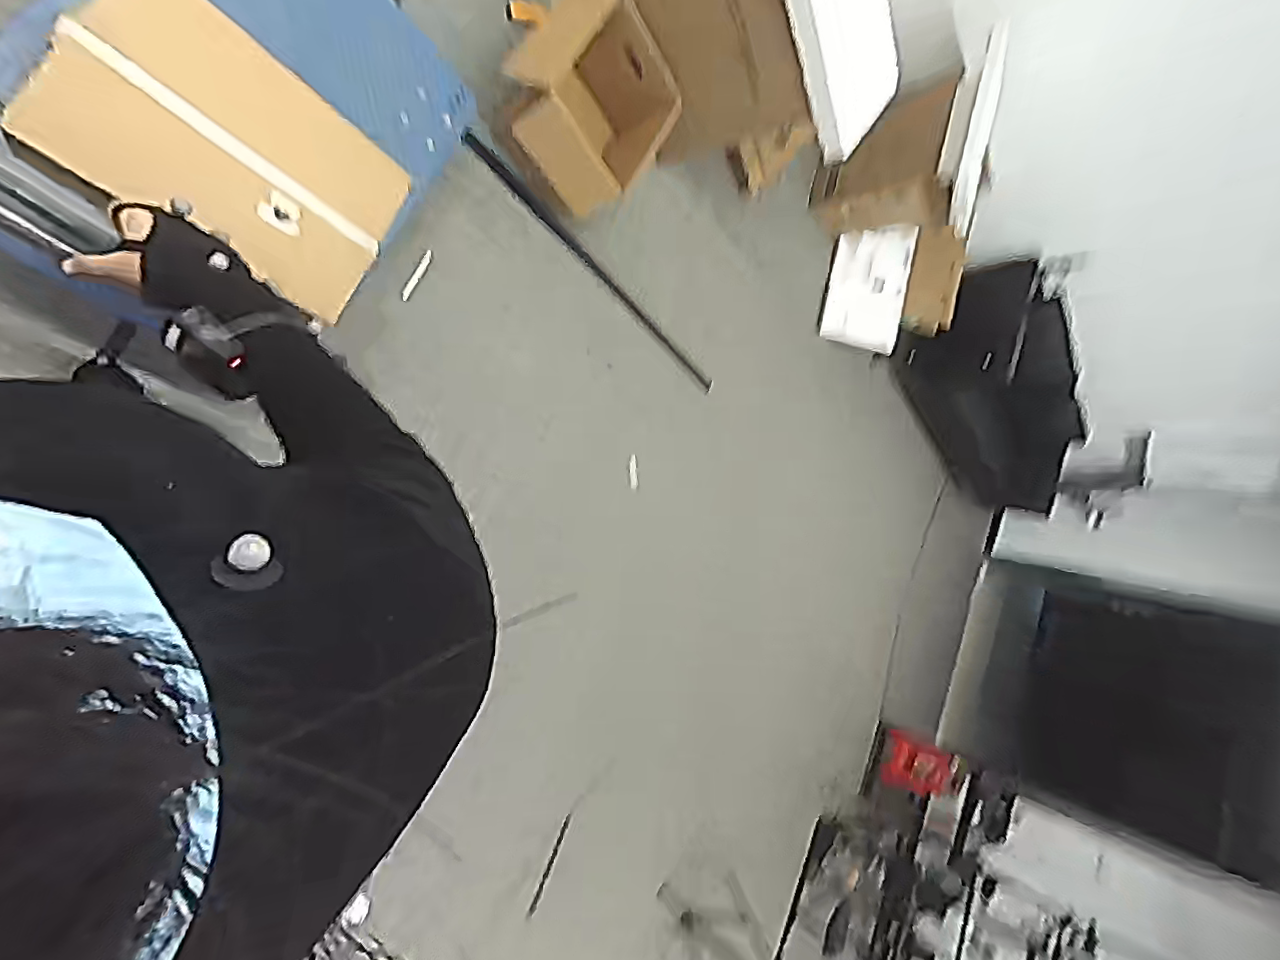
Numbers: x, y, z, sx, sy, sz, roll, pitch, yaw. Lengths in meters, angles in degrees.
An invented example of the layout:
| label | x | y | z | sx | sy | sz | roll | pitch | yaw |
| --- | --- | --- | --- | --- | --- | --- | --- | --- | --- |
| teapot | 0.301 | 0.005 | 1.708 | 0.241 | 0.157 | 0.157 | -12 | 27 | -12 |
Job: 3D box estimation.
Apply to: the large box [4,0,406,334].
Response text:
| label | x | y | z | sx | sy | sz | roll | pitch | yaw |
| --- | --- | --- | --- | --- | --- | --- | --- | --- | --- |
| large box | -0.706 | -0.500 | 0.921 | 0.408 | 0.320 | 0.320 | 34 | 73 | -44 |
